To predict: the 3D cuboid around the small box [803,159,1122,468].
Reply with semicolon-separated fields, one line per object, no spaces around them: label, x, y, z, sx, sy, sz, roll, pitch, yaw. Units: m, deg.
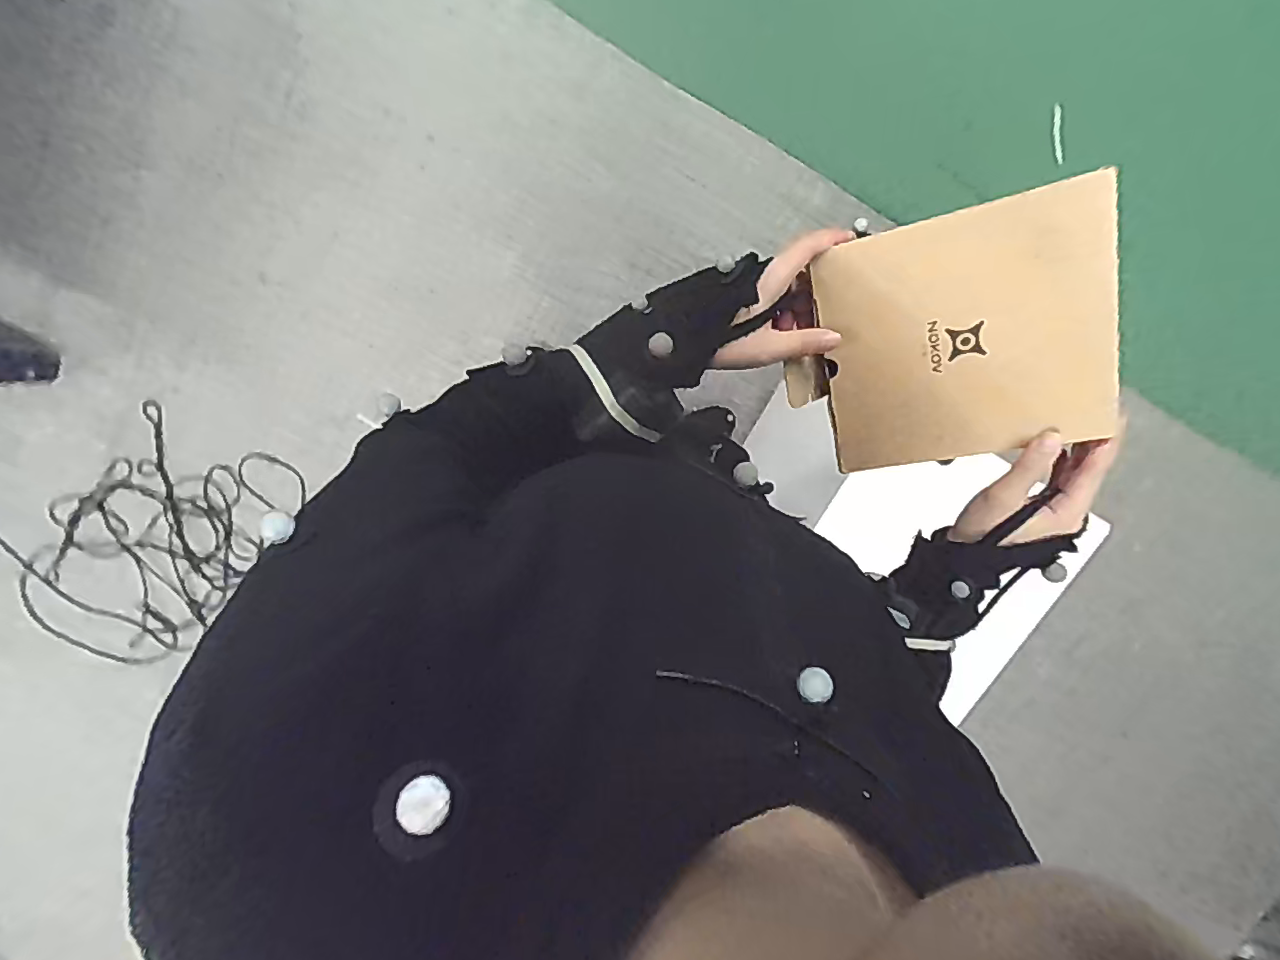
small box;0.233;-0.126;0.428;0.179;0.176;0.168;-10;108;22
